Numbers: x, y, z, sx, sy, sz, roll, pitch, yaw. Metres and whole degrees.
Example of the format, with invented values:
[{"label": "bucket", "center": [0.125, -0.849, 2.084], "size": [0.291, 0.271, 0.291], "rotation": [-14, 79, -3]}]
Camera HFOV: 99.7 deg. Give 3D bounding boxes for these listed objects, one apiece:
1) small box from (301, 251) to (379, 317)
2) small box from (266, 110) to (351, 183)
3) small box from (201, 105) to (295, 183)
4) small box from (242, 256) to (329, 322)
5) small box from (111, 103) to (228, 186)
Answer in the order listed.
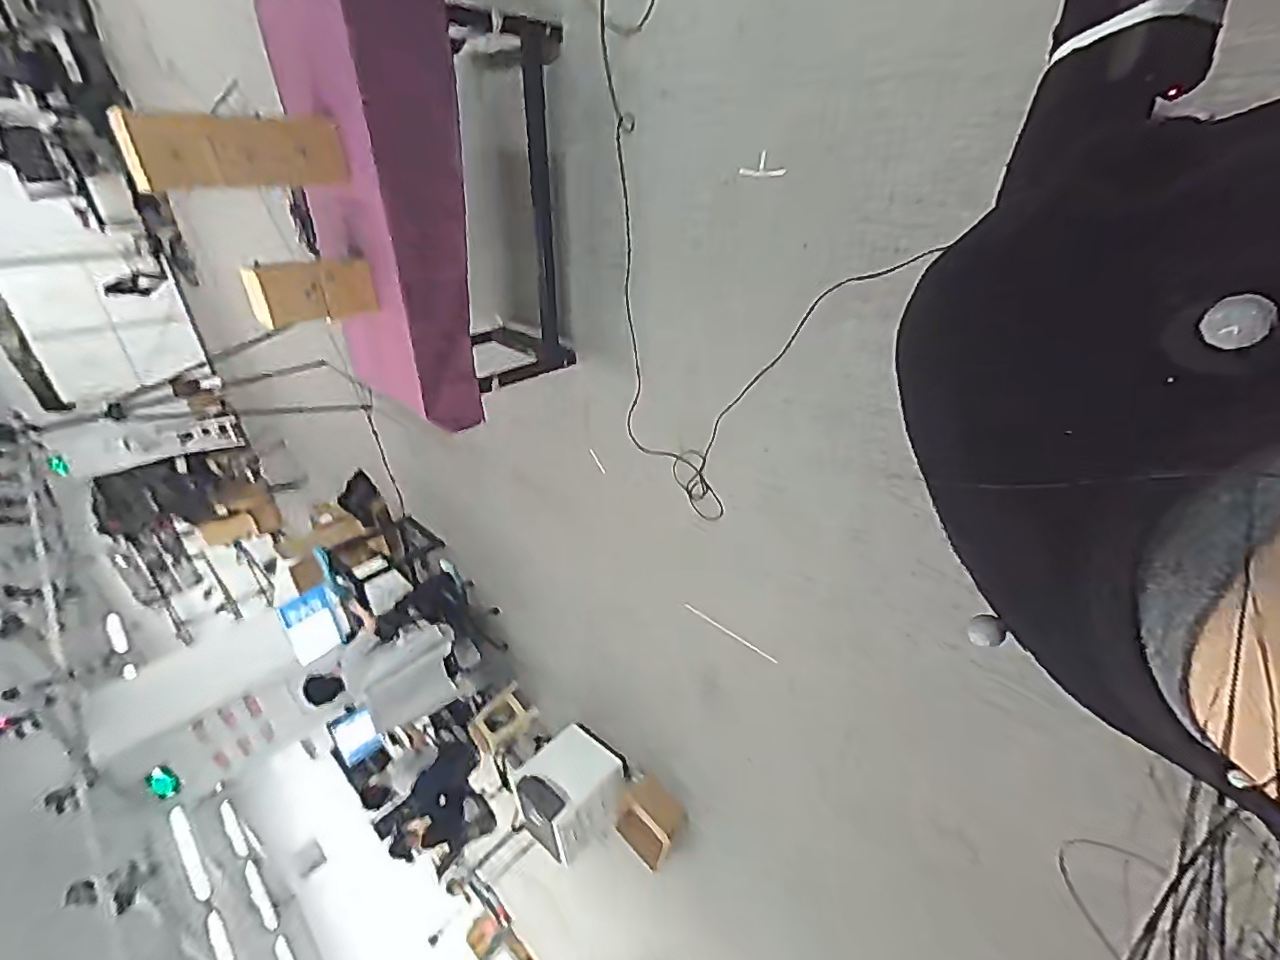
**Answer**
[{"label": "small box", "center": [-1.006, -0.666, 1.825], "size": [0.168, 0.176, 0.179], "rotation": [26, 128, 36]}, {"label": "small box", "center": [-0.992, -0.996, 1.616], "size": [0.168, 0.176, 0.179], "rotation": [27, 129, 34]}, {"label": "small box", "center": [-1.105, -0.936, 1.513], "size": [0.168, 0.176, 0.179], "rotation": [27, 130, 35]}, {"label": "small box", "center": [-1.122, -0.614, 1.720], "size": [0.179, 0.176, 0.168], "rotation": [26, 129, 36]}, {"label": "small box", "center": [-1.220, -0.876, 1.412], "size": [0.168, 0.176, 0.179], "rotation": [25, 129, 35]}]
